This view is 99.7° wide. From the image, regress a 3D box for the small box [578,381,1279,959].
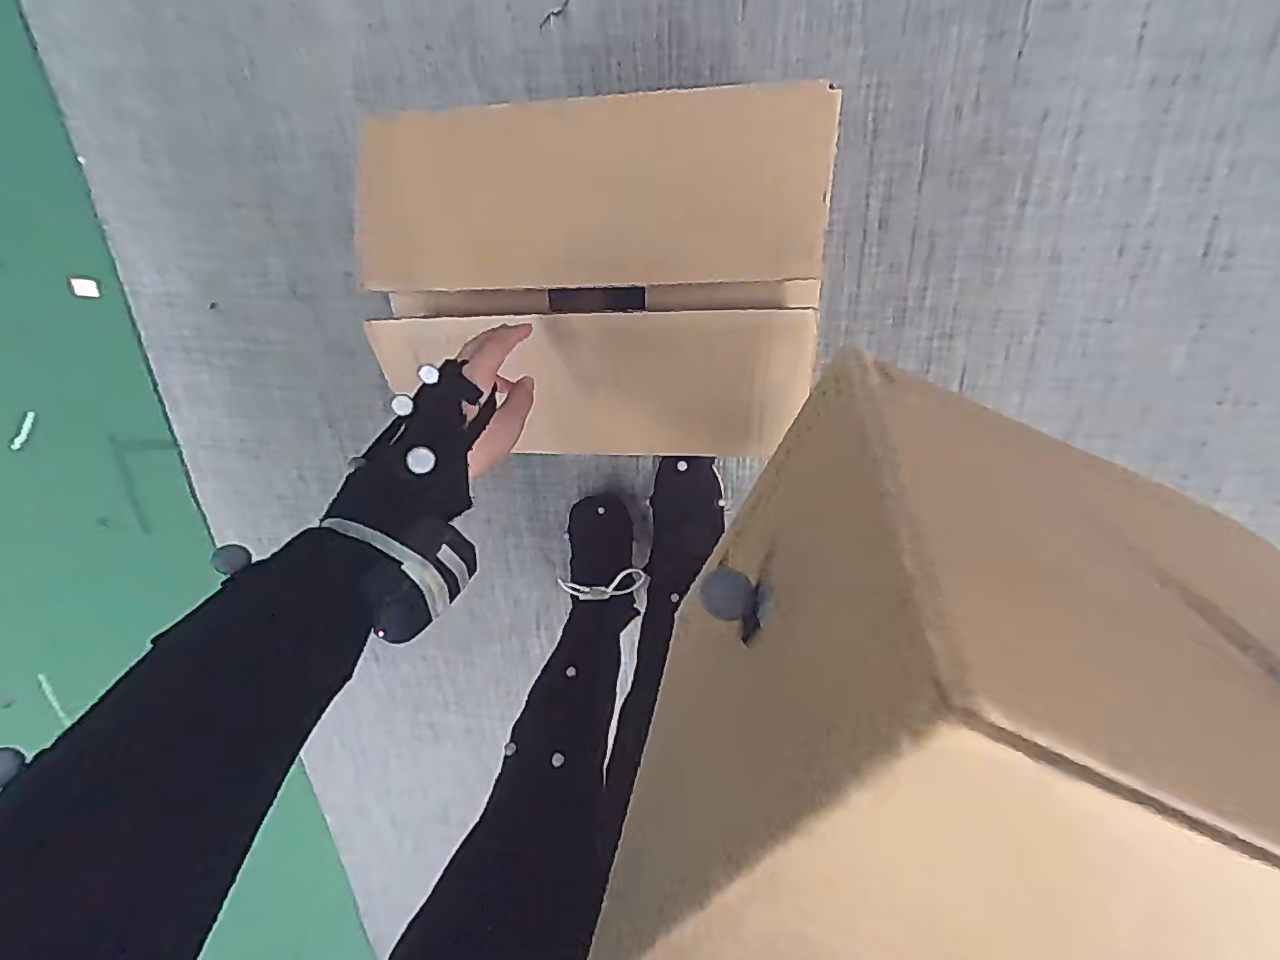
[{"bbox_3d":[0.105,0.084,0.189,0.179,0.176,0.168,25,122,-1],"label":"small box"}]
